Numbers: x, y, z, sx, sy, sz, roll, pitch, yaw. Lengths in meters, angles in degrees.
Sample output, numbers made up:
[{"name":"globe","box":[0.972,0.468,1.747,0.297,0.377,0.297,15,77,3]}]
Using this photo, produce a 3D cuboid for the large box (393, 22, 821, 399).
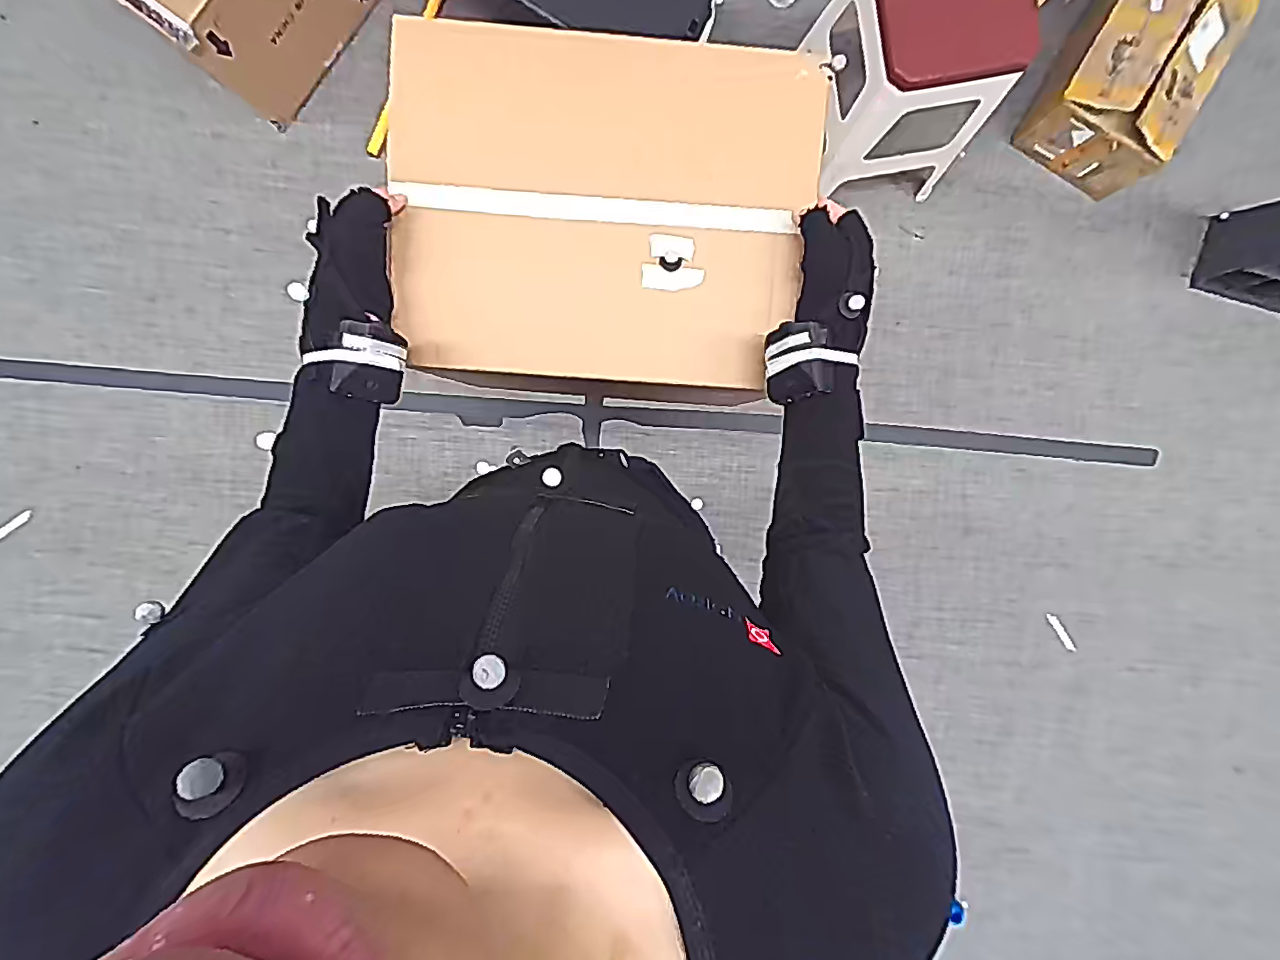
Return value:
[{"name":"large box","box":[-0.040,-0.273,0.664,0.408,0.320,0.320,4,95,-2]}]
